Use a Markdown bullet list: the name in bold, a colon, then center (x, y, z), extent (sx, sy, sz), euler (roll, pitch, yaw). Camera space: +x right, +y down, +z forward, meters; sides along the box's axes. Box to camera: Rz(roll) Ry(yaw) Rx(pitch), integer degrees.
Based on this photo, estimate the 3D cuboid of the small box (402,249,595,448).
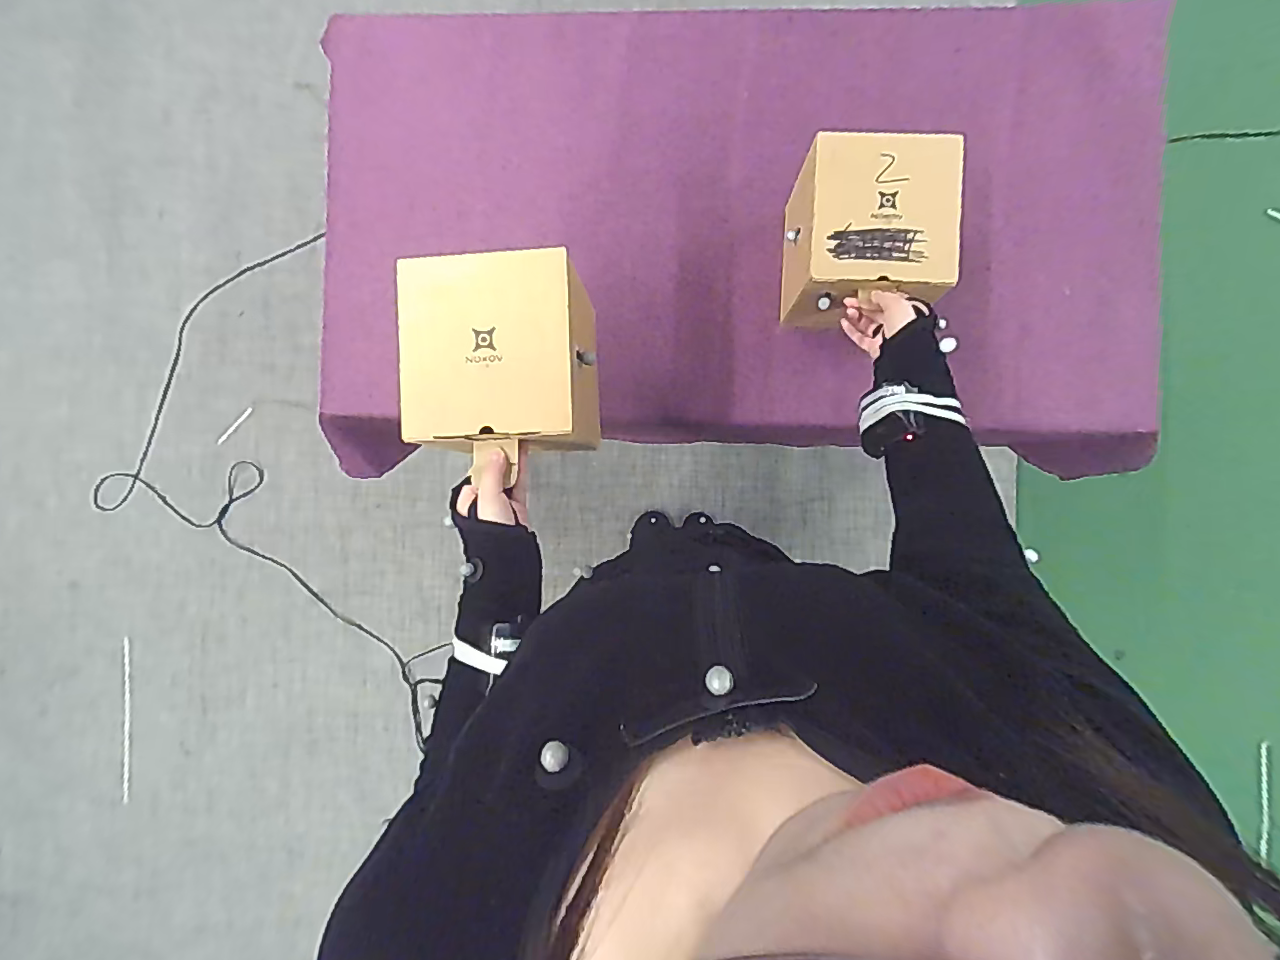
- **small box**: center (-0.144, -0.131, 0.600), extent (0.168, 0.176, 0.179), euler (-2, 89, 4)
